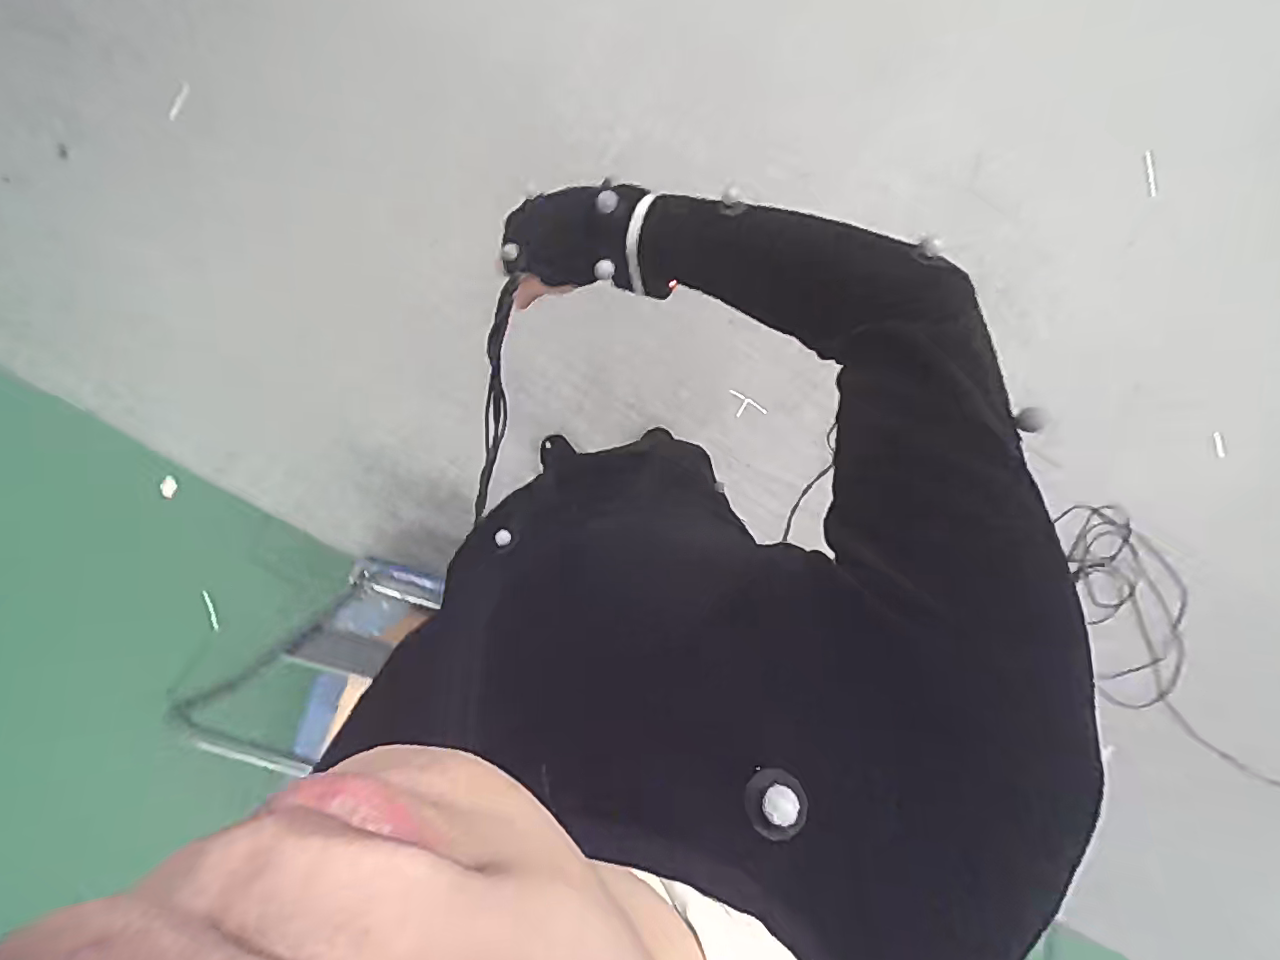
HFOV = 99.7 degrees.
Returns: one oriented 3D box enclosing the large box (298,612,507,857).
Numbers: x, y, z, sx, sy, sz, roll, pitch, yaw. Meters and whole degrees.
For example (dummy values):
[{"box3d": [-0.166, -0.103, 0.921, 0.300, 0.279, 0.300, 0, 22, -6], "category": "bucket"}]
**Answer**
[{"box3d": [-0.553, 0.598, 1.329, 0.320, 0.320, 0.408, 21, 95, -7], "category": "large box"}]
